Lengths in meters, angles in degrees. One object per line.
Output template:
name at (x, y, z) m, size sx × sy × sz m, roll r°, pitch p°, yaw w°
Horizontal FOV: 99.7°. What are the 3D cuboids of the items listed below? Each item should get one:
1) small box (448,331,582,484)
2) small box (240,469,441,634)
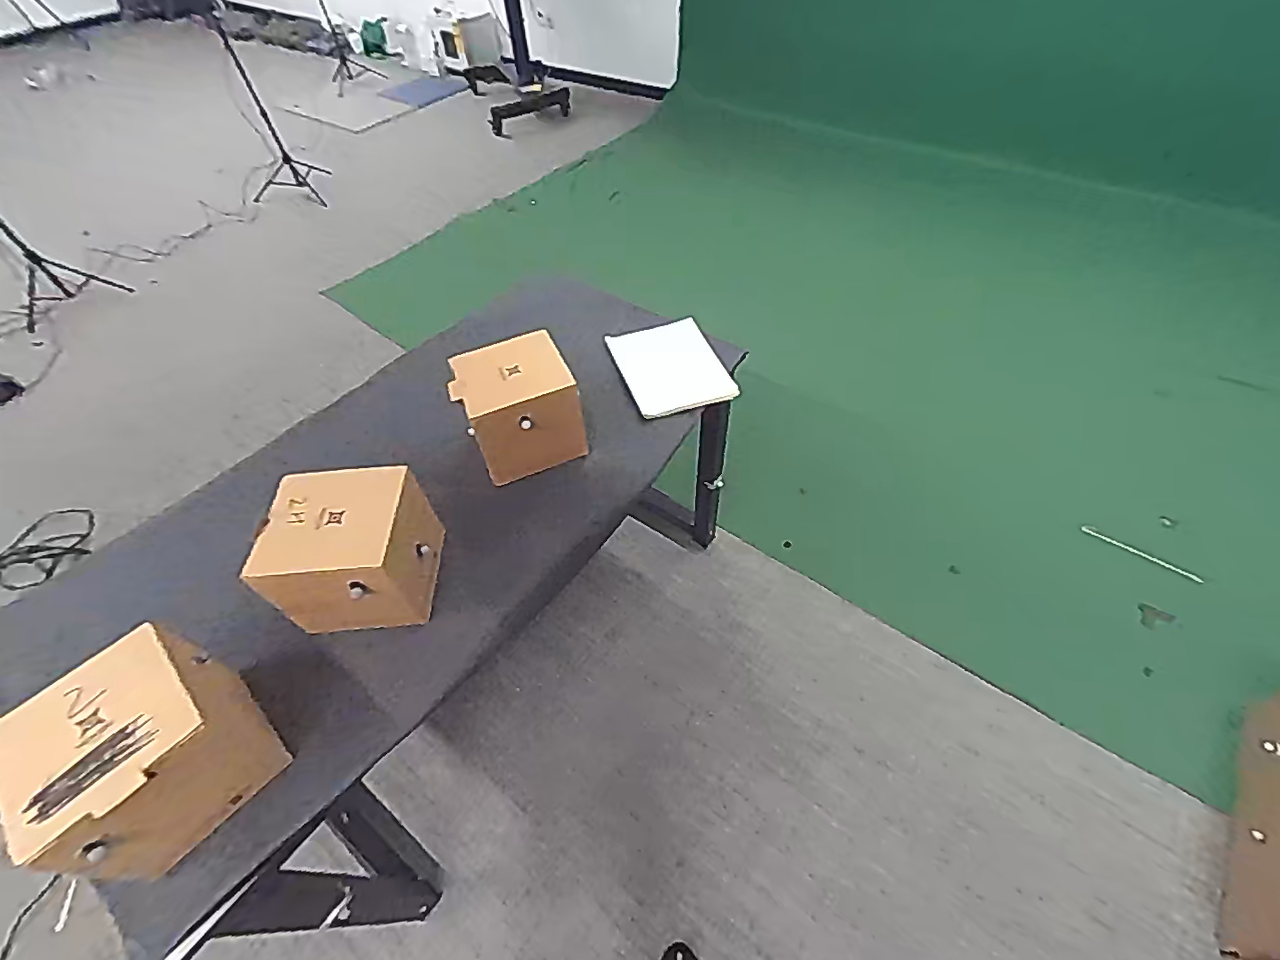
small box at (-0.209, -0.124, 0.939) m, size 0.179 × 0.176 × 0.168 m, roll -21°, pitch 53°, yaw -13°
small box at (-0.401, 0.104, 0.767) m, size 0.179 × 0.176 × 0.168 m, roll -5°, pitch 51°, yaw -1°
